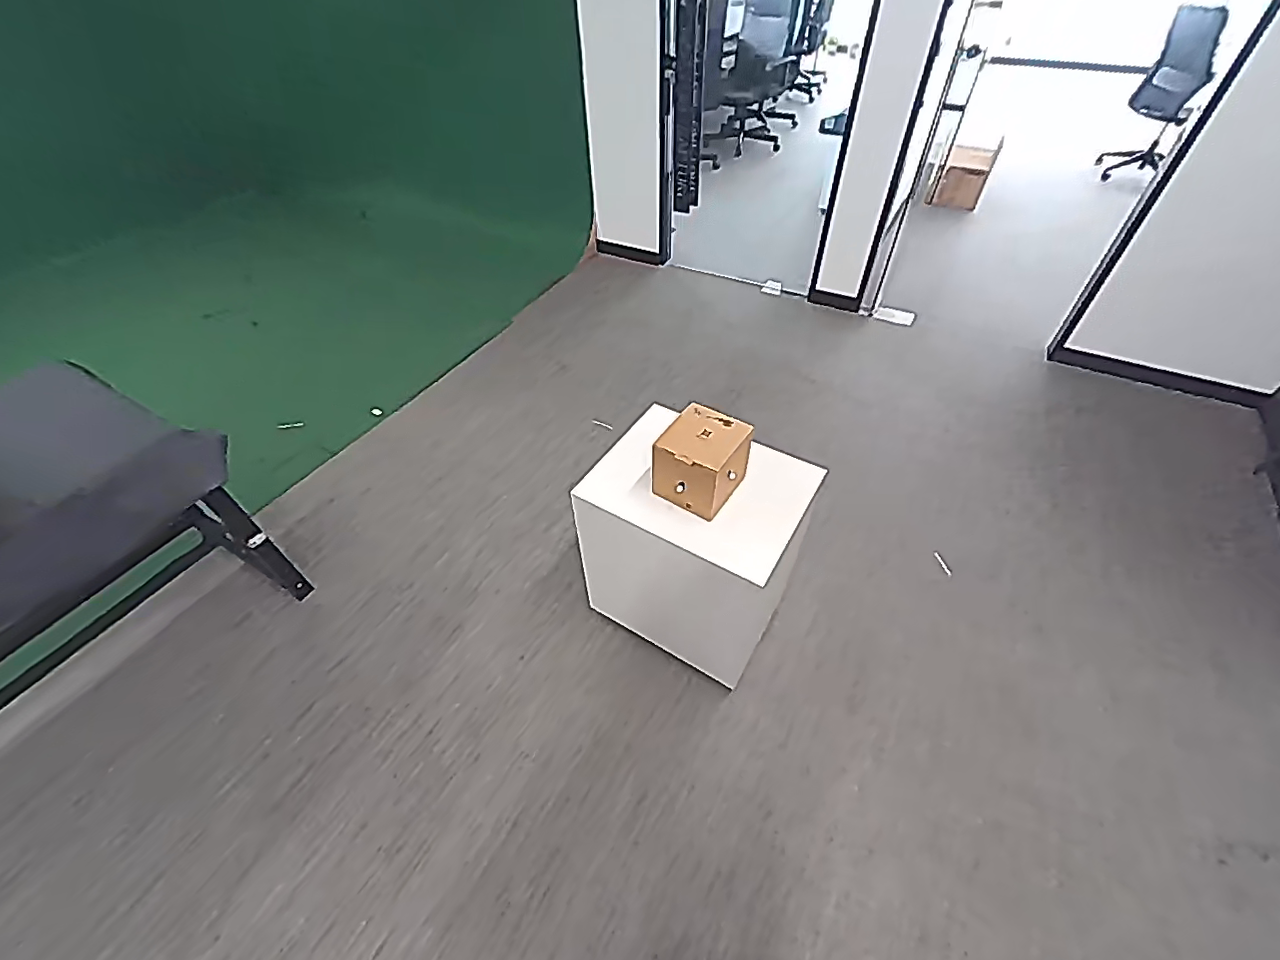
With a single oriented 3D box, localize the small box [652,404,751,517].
[{"bbox_3d":[0.144,-0.043,1.268,0.168,0.176,0.179,24,52,22],"label":"small box"}]
